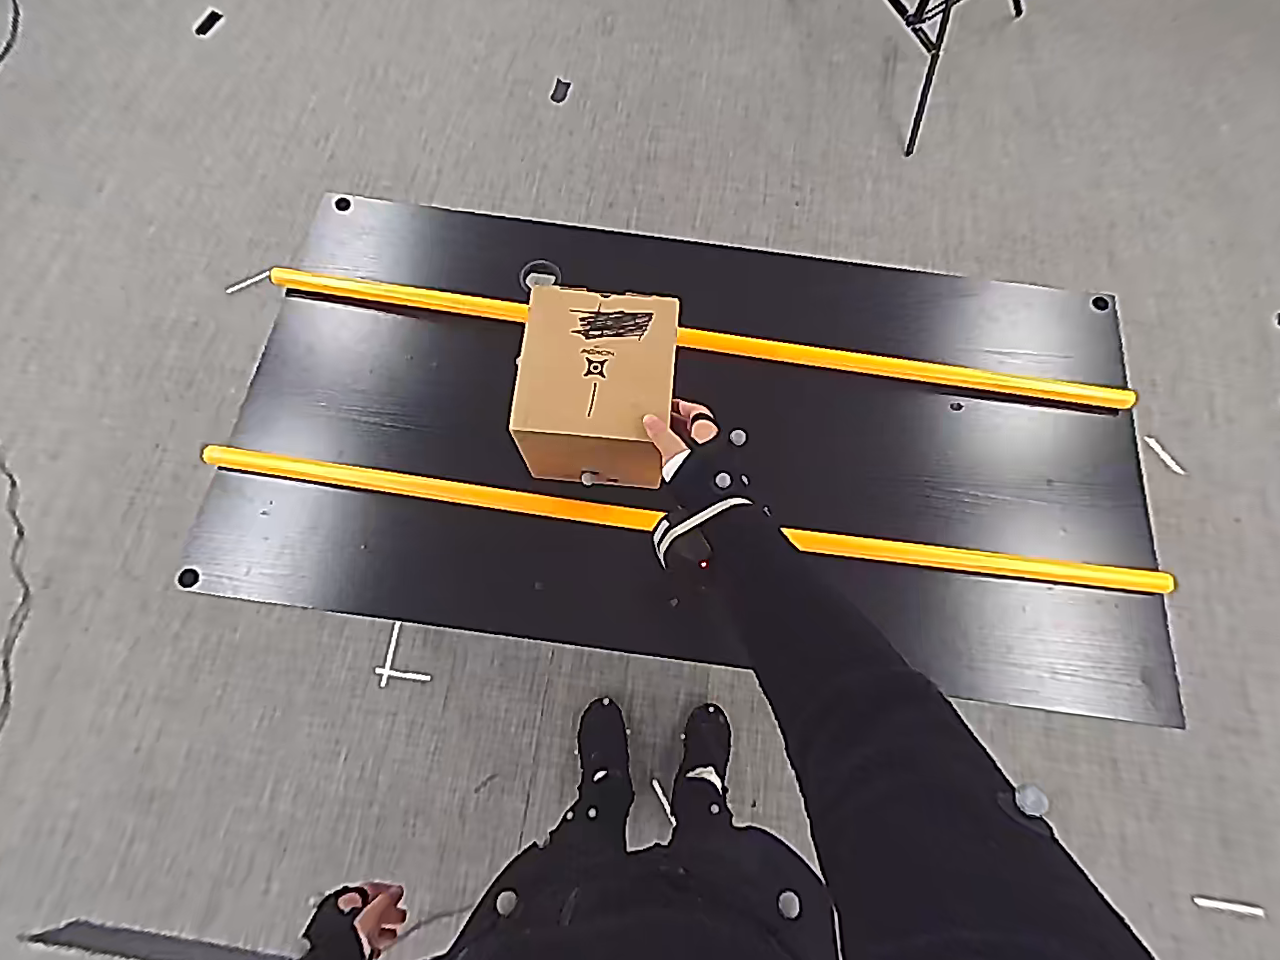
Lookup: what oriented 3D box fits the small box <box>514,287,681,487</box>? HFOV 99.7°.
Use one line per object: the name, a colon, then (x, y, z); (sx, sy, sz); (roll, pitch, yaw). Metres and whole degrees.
small box: (-0.046, -0.104, 0.659); (0.168, 0.176, 0.179); (5, 73, 0)
